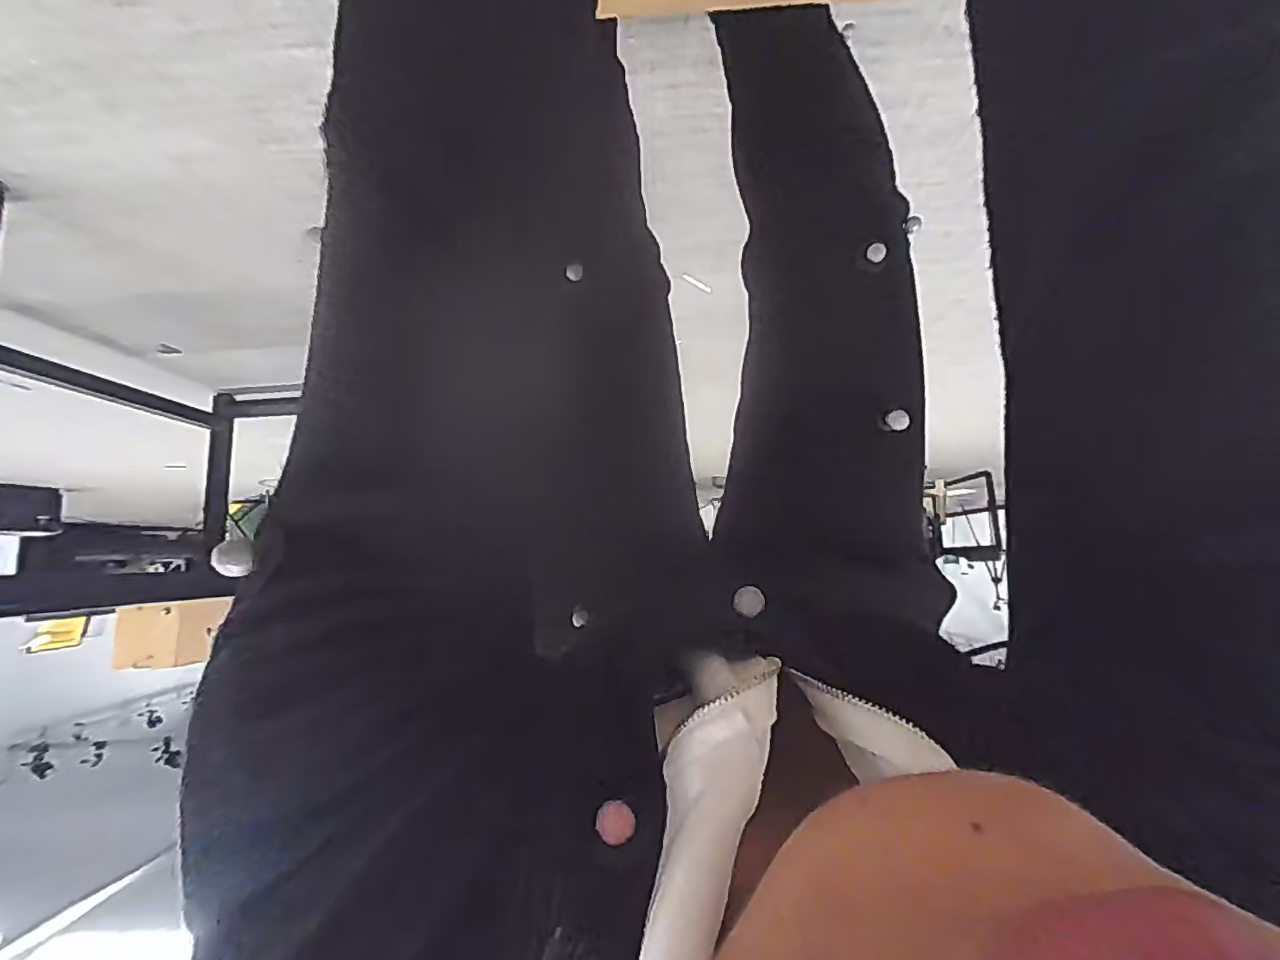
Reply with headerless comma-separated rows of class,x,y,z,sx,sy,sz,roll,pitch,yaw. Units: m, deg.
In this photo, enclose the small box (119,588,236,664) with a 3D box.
small box,-1.209,0.378,1.423,0.168,0.176,0.179,-2,173,2
